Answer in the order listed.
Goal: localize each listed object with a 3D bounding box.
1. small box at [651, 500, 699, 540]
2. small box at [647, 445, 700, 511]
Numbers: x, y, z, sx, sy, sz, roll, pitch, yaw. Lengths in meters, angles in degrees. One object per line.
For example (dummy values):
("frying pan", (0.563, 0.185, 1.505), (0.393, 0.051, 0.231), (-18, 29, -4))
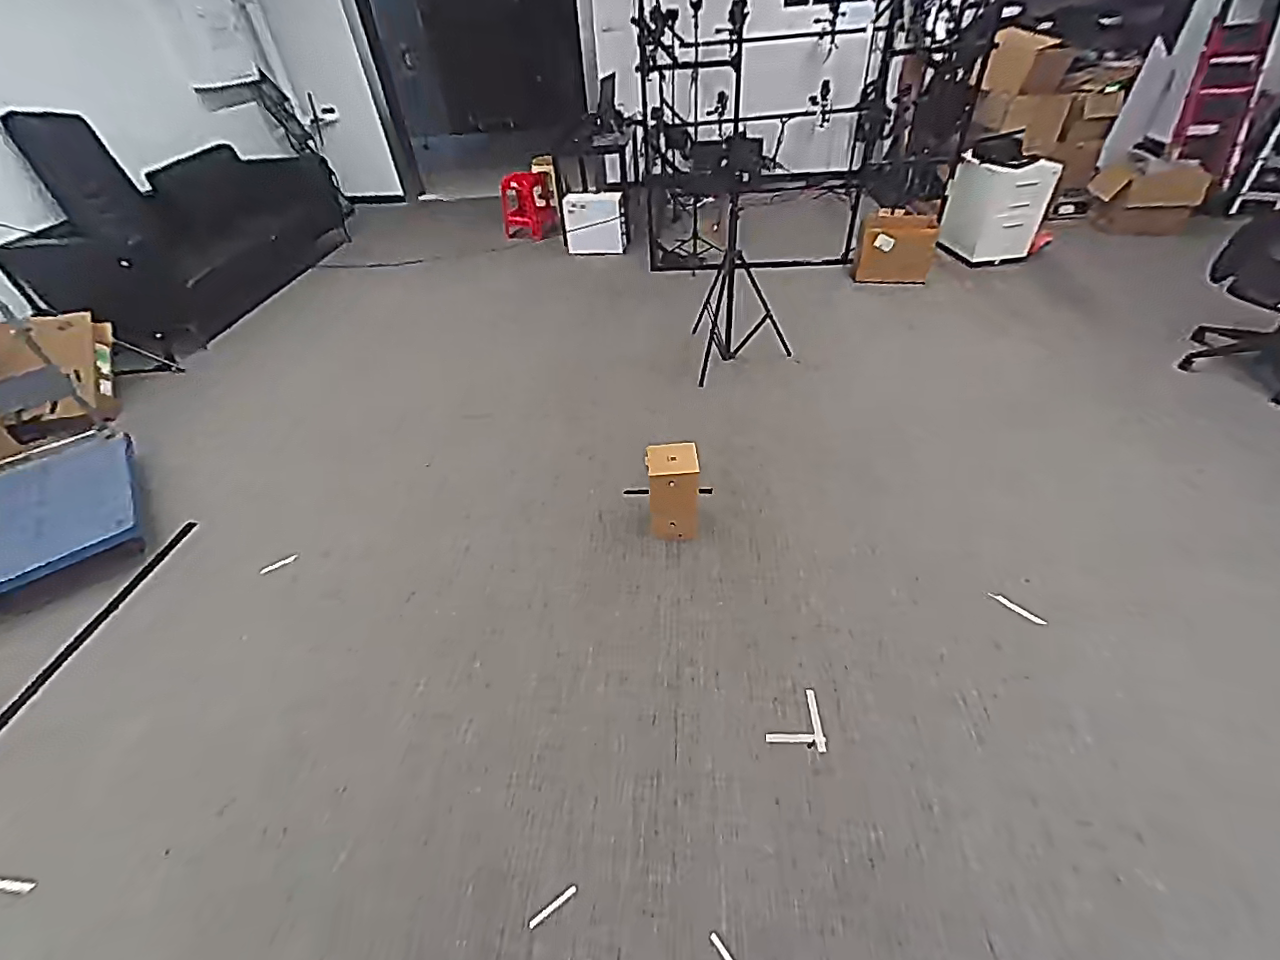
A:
("small box", (0.137, 0.111, 2.046), (0.168, 0.176, 0.179), (2, 41, 7))
("small box", (0.119, -0.005, 1.933), (0.179, 0.176, 0.168), (-5, 41, 2))
